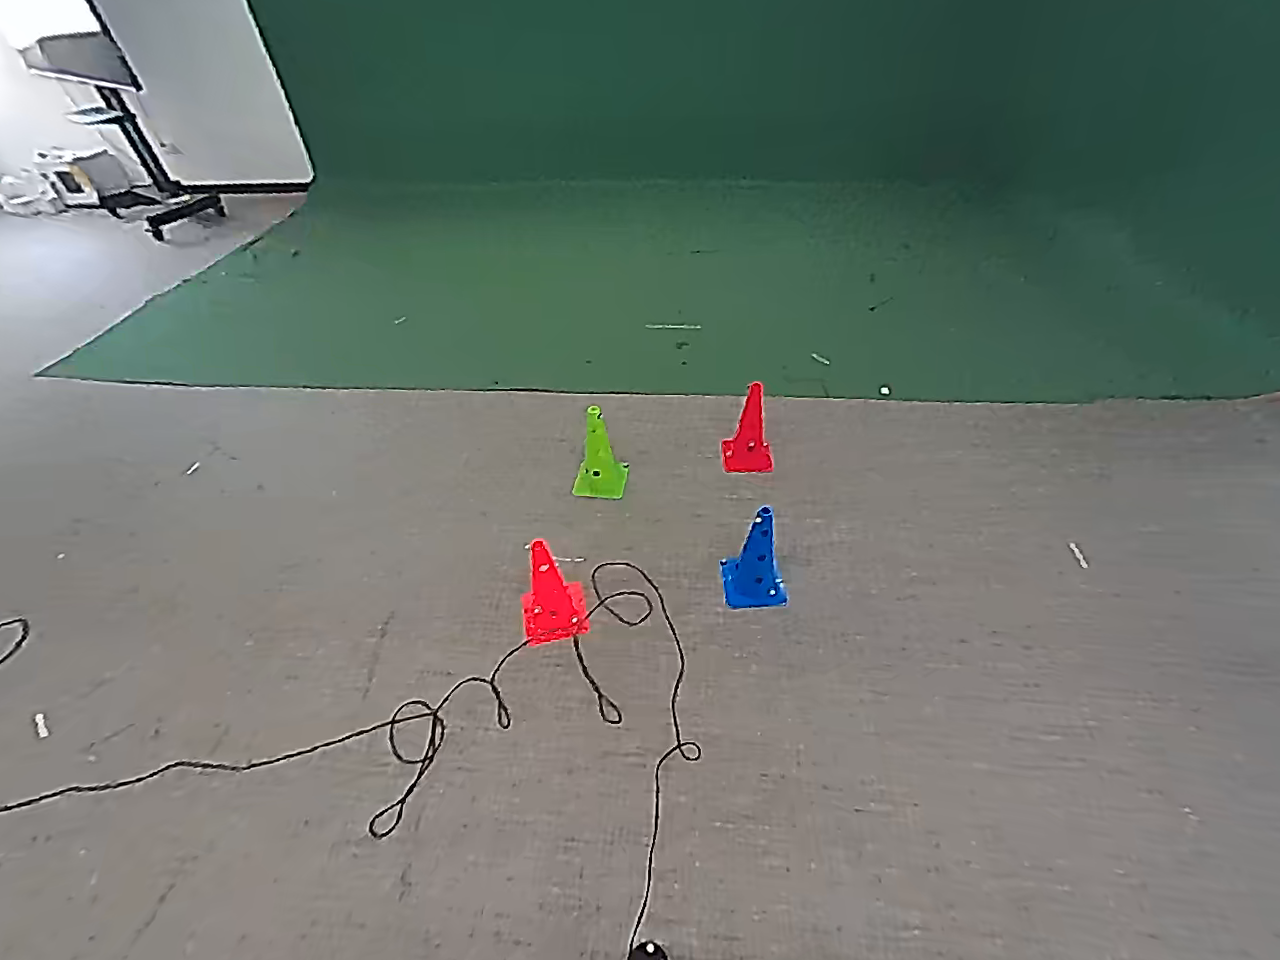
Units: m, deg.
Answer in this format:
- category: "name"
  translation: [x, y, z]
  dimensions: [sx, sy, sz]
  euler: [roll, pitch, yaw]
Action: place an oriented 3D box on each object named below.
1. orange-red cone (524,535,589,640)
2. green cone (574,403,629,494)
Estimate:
- category: "orange-red cone"
  translation: [-0.275, 0.293, 1.628]
  dimensions: [0.198, 0.360, 0.199]
  euler: [-10, 43, -9]
- category: "green cone"
  translation: [-0.161, -0.140, 2.059]
  dimensions: [0.200, 0.368, 0.202]
  euler: [3, 46, 7]
